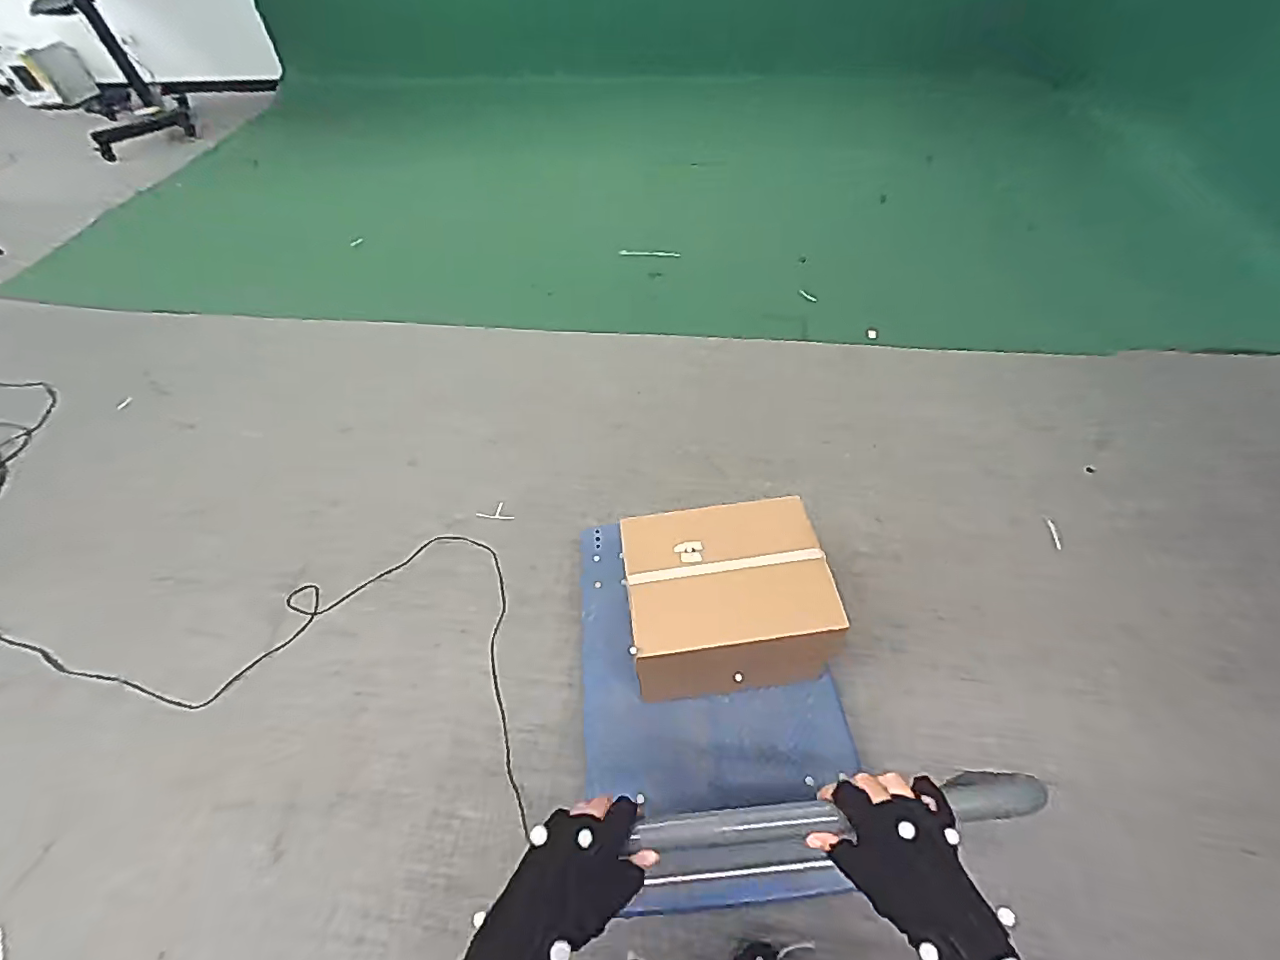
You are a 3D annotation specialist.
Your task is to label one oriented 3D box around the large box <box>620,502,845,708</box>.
[{"bbox_3d":[0.182,0.285,1.209,0.408,0.320,0.320,-8,51,-1],"label":"large box"}]
